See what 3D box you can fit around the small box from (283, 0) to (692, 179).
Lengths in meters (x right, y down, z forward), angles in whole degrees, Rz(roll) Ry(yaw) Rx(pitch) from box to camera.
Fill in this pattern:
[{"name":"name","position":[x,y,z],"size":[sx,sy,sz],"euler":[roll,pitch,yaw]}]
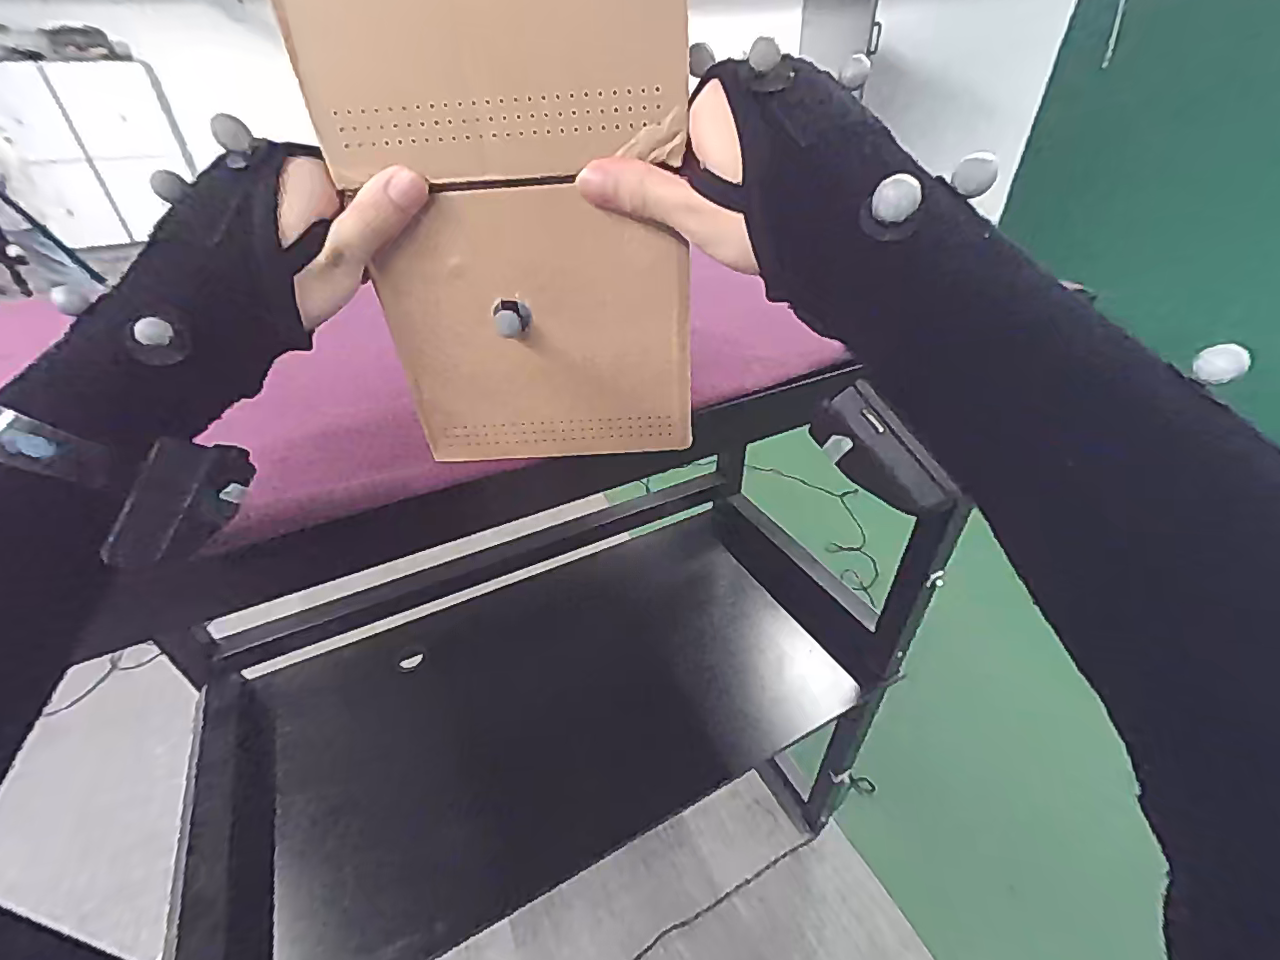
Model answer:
[{"name":"small box","position":[-0.066,-0.259,0.271],"size":[0.179,0.176,0.168],"euler":[-2,39,4]}]

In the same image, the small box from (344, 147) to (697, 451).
[{"name":"small box","position":[-0.055,-0.132,0.375],"size":[0.179,0.176,0.168],"euler":[-4,38,3]}]
